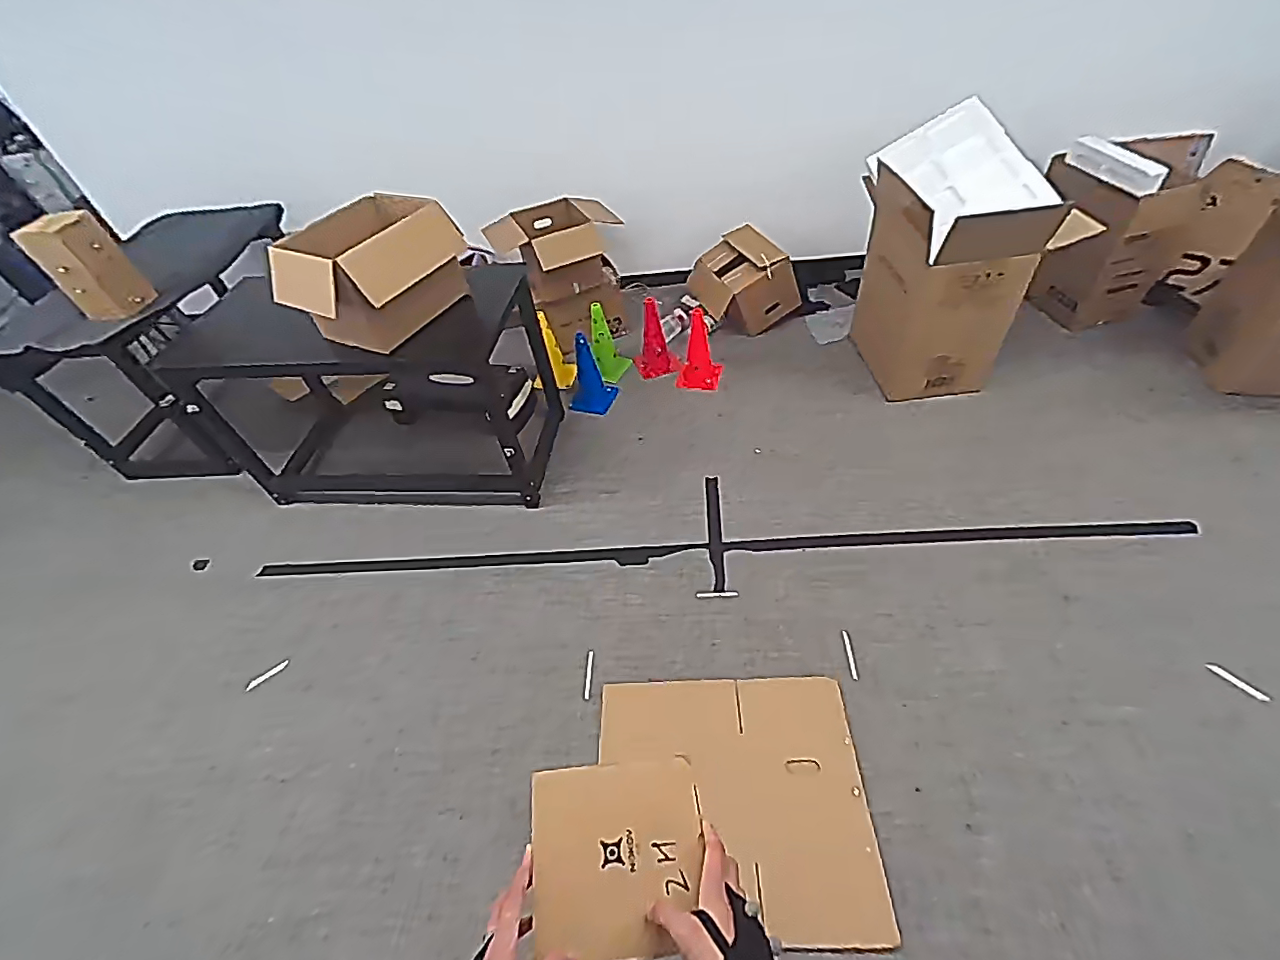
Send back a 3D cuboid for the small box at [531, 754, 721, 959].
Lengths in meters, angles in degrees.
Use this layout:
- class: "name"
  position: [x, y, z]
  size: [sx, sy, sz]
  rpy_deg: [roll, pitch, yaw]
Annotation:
- class: "small box"
  position: [-0.025, 0.420, 0.596]
  size: [0.179, 0.176, 0.168]
  rpy_deg: [-2, 50, -8]
